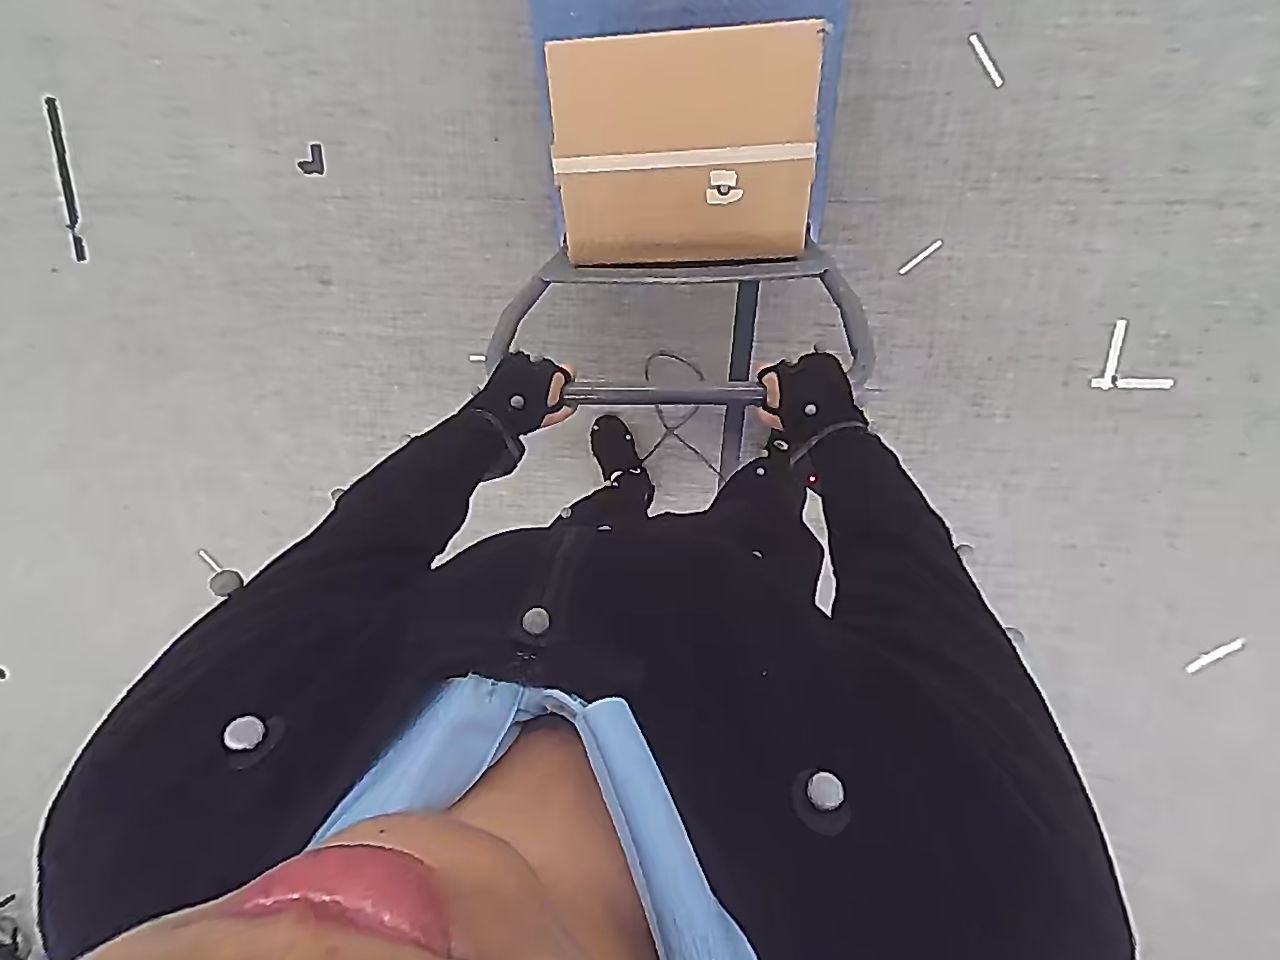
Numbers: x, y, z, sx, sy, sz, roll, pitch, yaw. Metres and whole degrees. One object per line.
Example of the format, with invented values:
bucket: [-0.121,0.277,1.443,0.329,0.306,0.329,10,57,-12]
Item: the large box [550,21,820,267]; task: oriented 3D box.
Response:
large box: [0.083,-0.595,0.992,0.408,0.320,0.320,-1,123,6]
